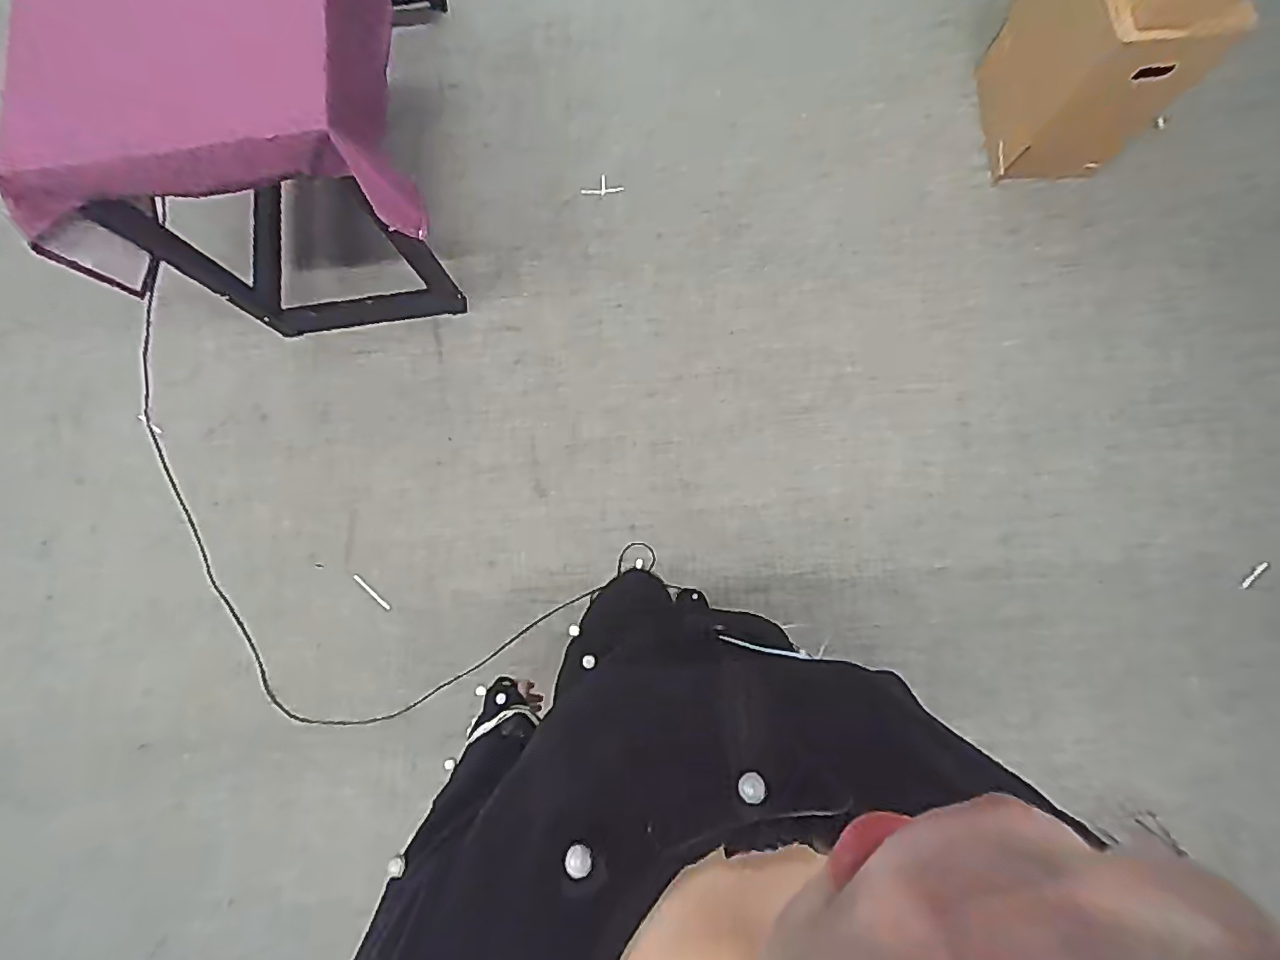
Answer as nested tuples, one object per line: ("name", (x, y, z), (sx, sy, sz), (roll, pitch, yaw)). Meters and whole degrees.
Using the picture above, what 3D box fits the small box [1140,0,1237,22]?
("small box", (1.194, -1.104, 1.130), (0.179, 0.176, 0.168), (0, 80, 2))
